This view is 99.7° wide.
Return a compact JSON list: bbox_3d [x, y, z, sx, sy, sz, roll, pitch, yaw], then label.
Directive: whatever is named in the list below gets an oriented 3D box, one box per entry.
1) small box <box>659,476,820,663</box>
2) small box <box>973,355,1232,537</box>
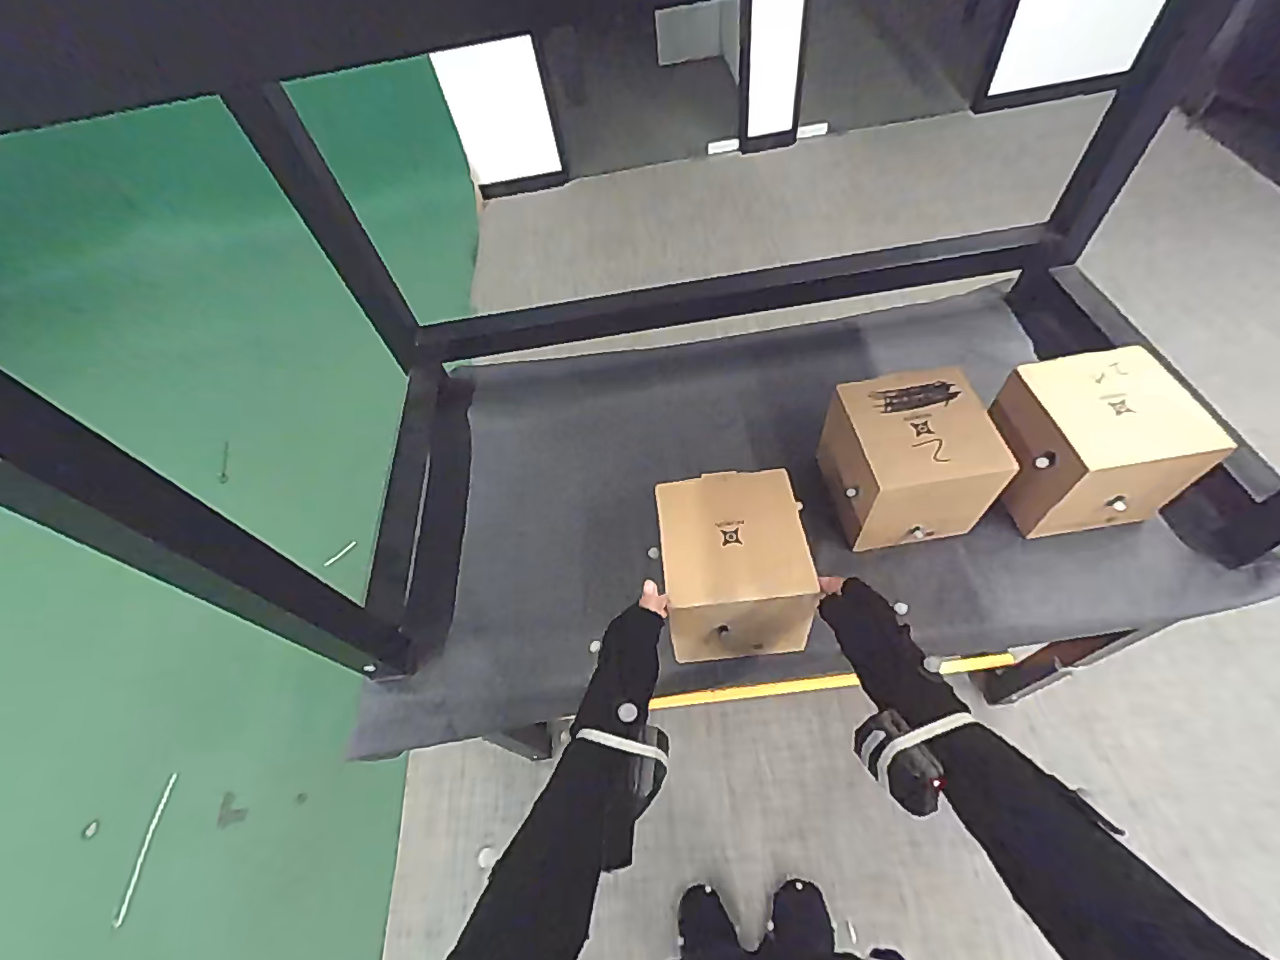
[{"bbox_3d":[0.119,0.121,0.690,0.168,0.176,0.179,-7,50,3],"label":"small box"},{"bbox_3d":[0.594,-0.037,0.729,0.168,0.176,0.179,-9,54,2],"label":"small box"}]
